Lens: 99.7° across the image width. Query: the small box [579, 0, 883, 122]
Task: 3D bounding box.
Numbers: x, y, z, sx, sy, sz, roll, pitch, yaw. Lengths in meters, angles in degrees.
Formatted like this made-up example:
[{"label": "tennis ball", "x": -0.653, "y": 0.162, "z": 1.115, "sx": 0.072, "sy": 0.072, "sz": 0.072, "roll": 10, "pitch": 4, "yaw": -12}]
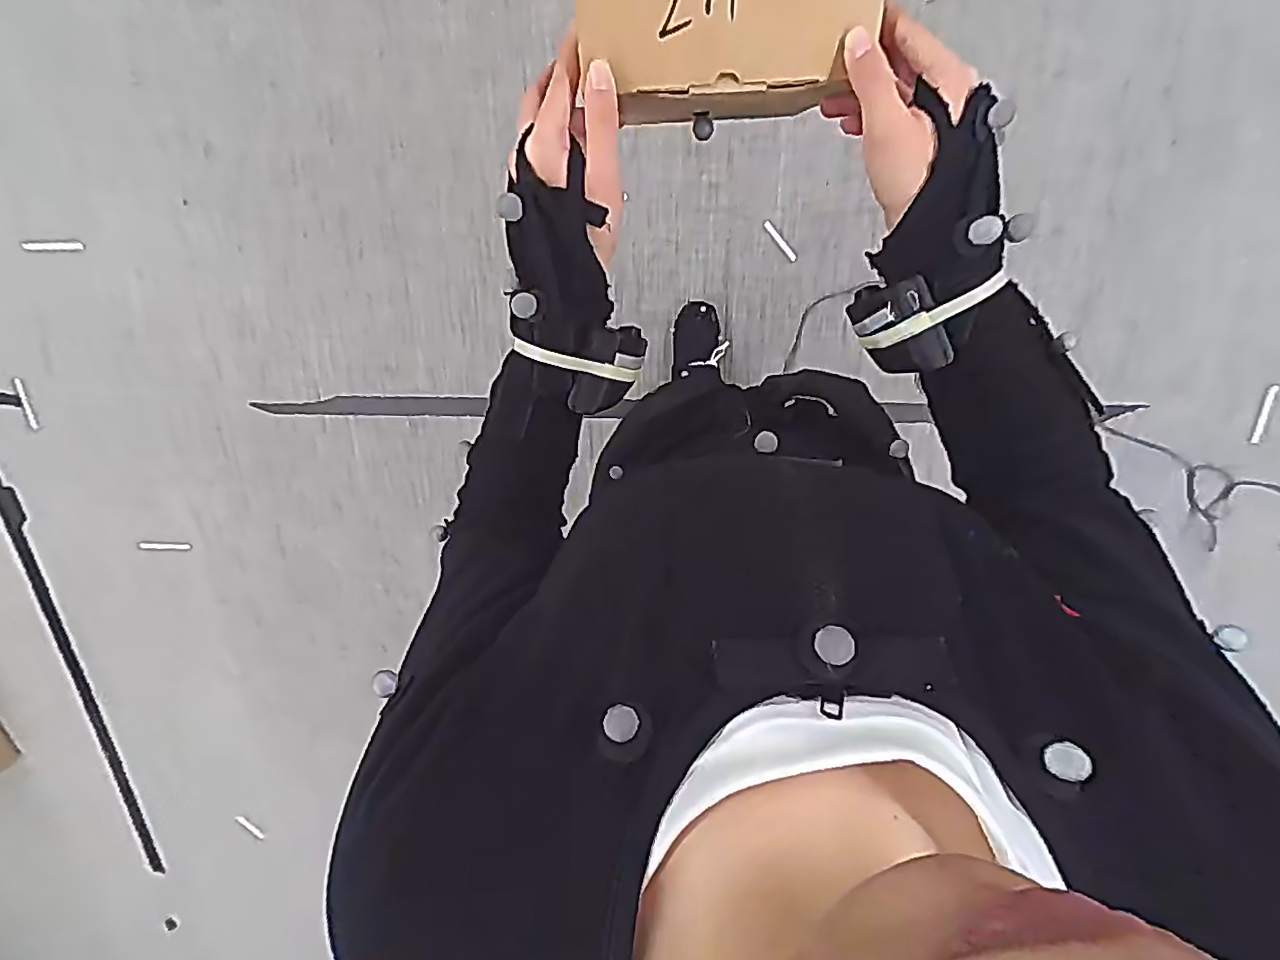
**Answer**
[{"label": "small box", "x": 0.045, "y": -0.340, "z": 0.335, "sx": 0.168, "sy": 0.176, "sz": 0.179, "roll": -2, "pitch": 118, "yaw": 0}]
